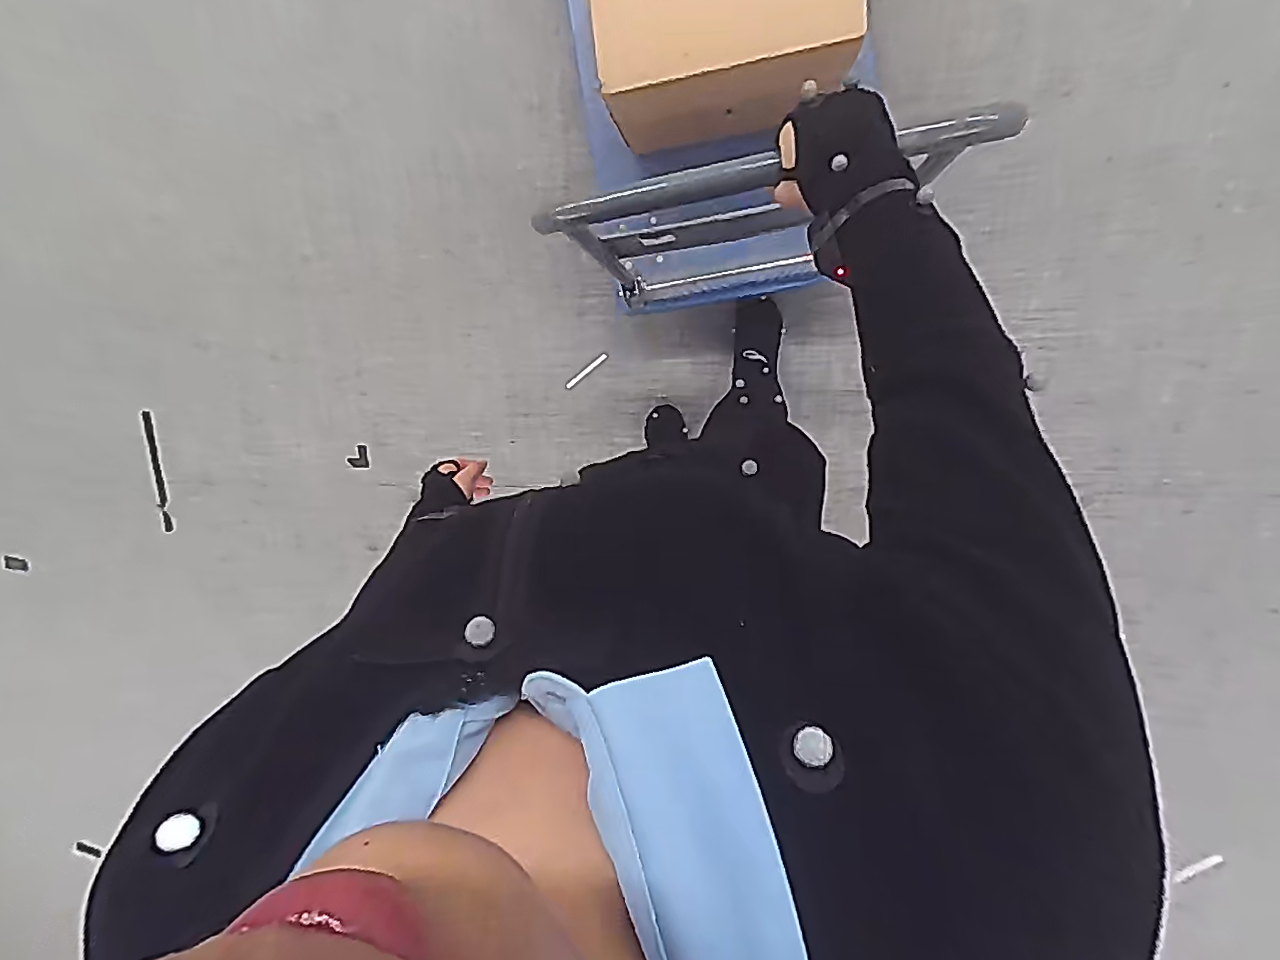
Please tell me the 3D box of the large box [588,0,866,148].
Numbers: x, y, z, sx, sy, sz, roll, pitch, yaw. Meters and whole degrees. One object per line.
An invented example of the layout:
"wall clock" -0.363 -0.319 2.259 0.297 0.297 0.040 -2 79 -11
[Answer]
"large box" 0.135 -0.819 0.918 0.408 0.320 0.320 -5 103 12
